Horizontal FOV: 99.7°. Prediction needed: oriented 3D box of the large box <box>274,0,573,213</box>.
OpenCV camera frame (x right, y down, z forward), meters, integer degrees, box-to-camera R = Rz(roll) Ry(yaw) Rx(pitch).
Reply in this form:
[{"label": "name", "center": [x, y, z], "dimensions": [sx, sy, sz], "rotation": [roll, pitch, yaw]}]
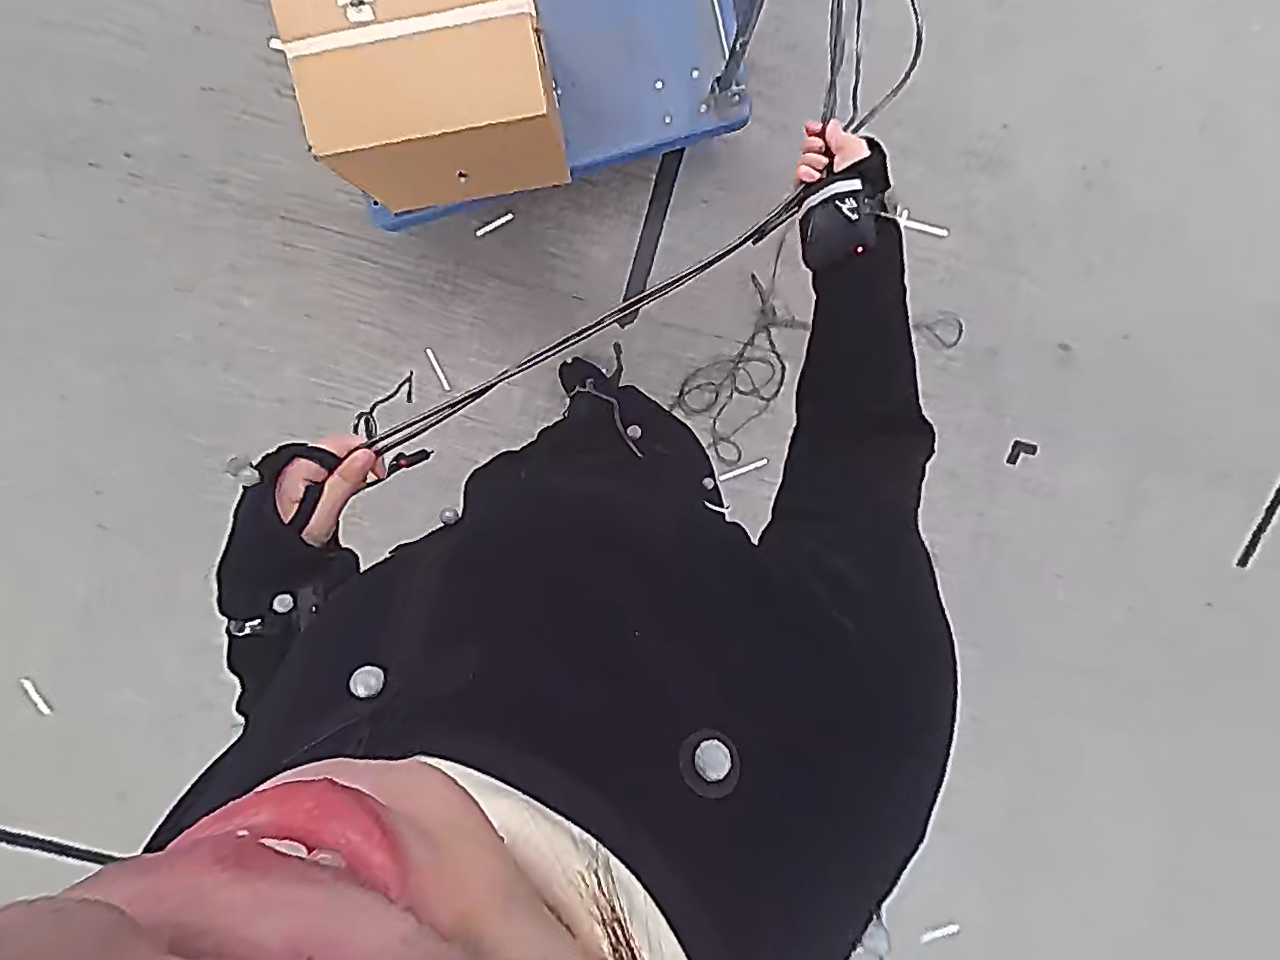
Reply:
[{"label": "large box", "center": [-0.368, -0.737, 1.010], "dimensions": [0.408, 0.320, 0.320], "rotation": [-10, 99, 2]}]
